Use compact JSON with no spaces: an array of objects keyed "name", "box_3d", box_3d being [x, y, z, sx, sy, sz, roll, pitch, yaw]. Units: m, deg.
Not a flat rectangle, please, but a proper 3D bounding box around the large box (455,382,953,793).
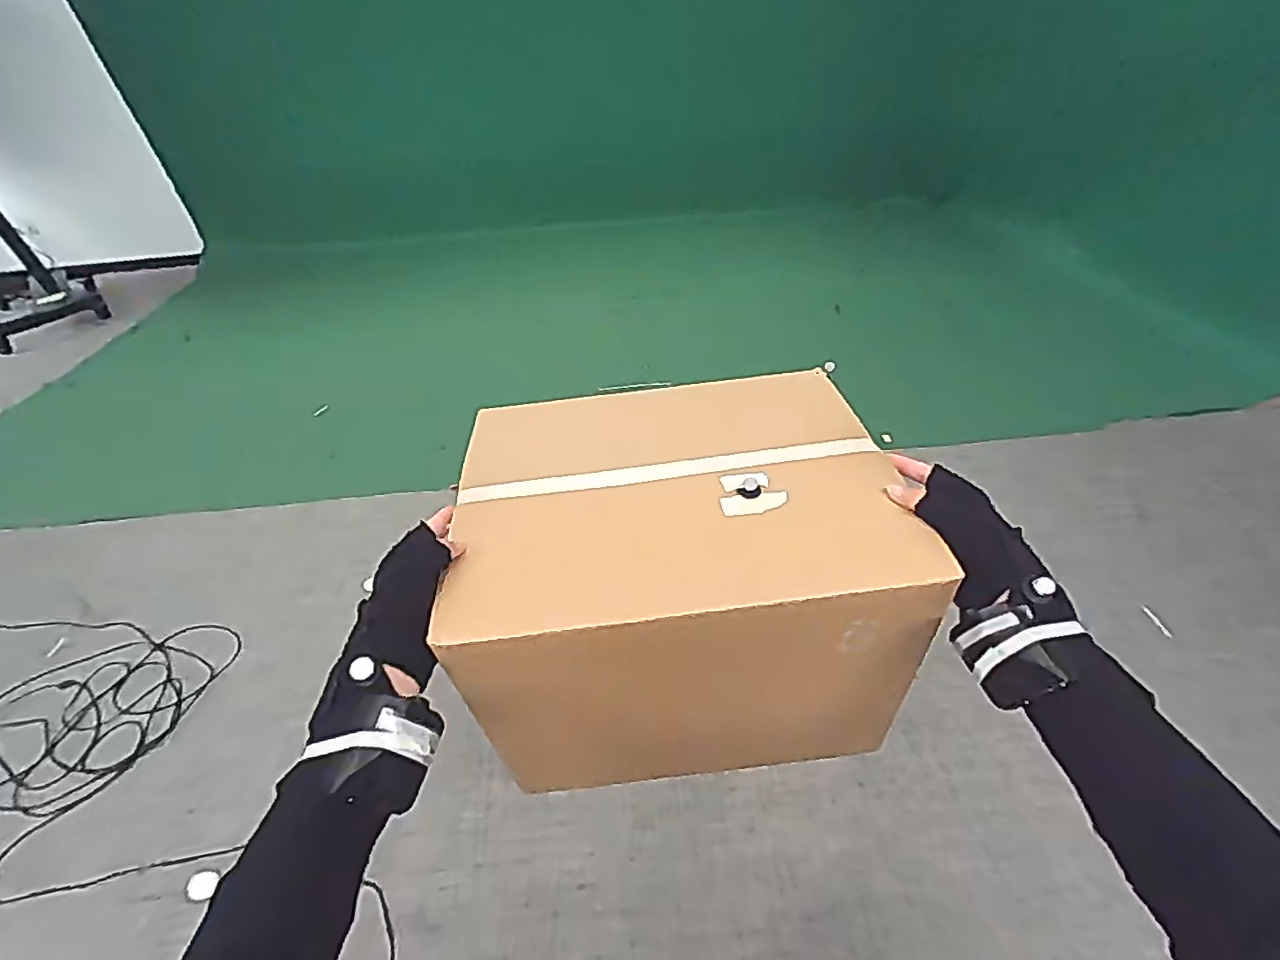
[{"name":"large box","box_3d":[0.047,0.117,0.625,0.408,0.320,0.320,-7,41,-2]}]
